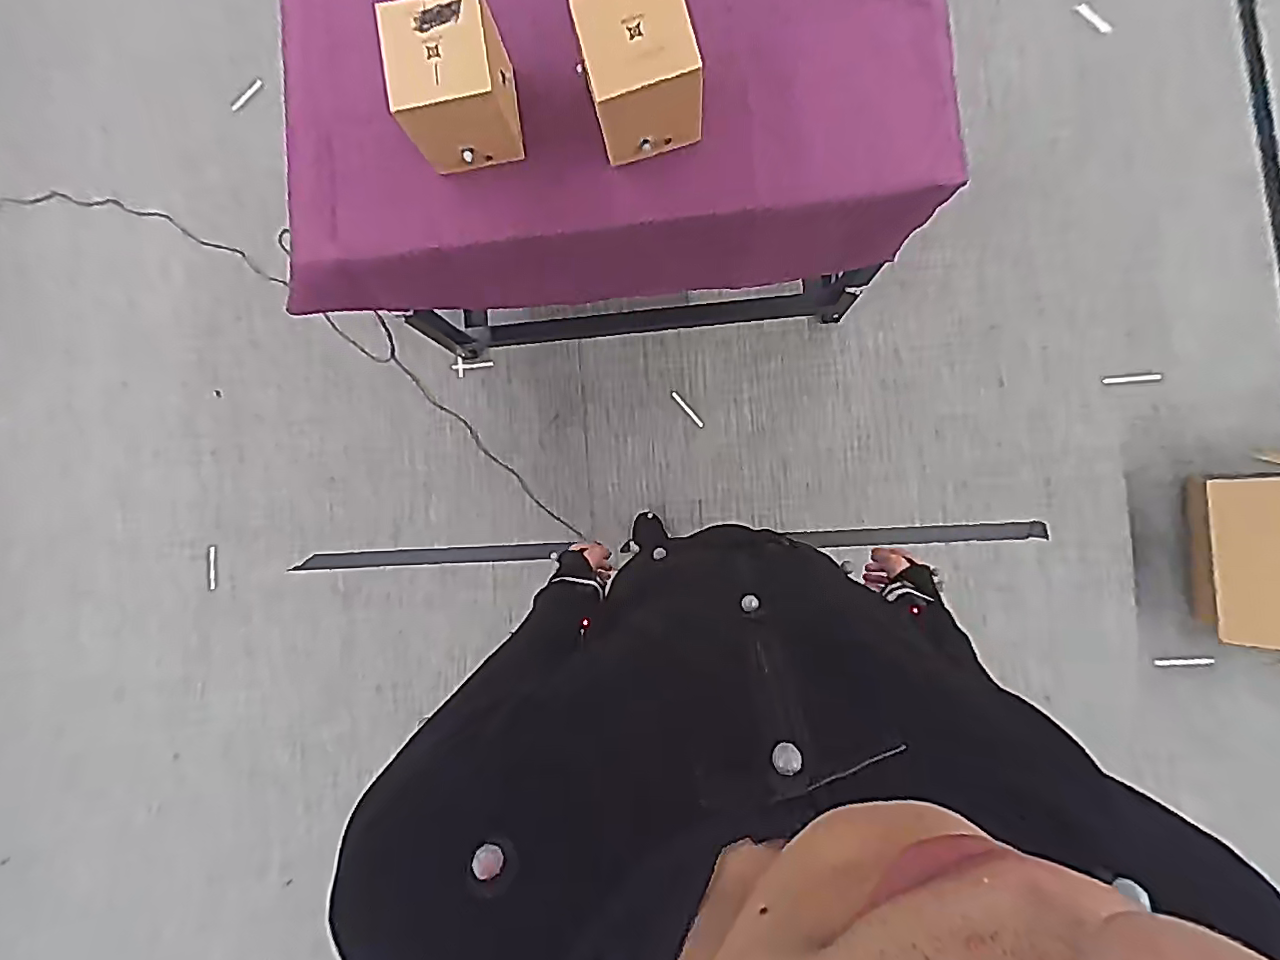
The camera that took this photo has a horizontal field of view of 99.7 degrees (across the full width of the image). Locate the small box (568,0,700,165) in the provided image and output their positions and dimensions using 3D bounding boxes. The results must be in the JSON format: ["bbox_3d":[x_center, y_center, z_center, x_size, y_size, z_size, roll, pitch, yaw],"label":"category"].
[{"bbox_3d":[-0.005,-0.662,0.881,0.168,0.176,0.179,-15,86,5],"label":"small box"}]

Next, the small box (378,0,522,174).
[{"bbox_3d":[-0.310,-0.656,0.907,0.168,0.176,0.179,-9,87,5],"label":"small box"}]
